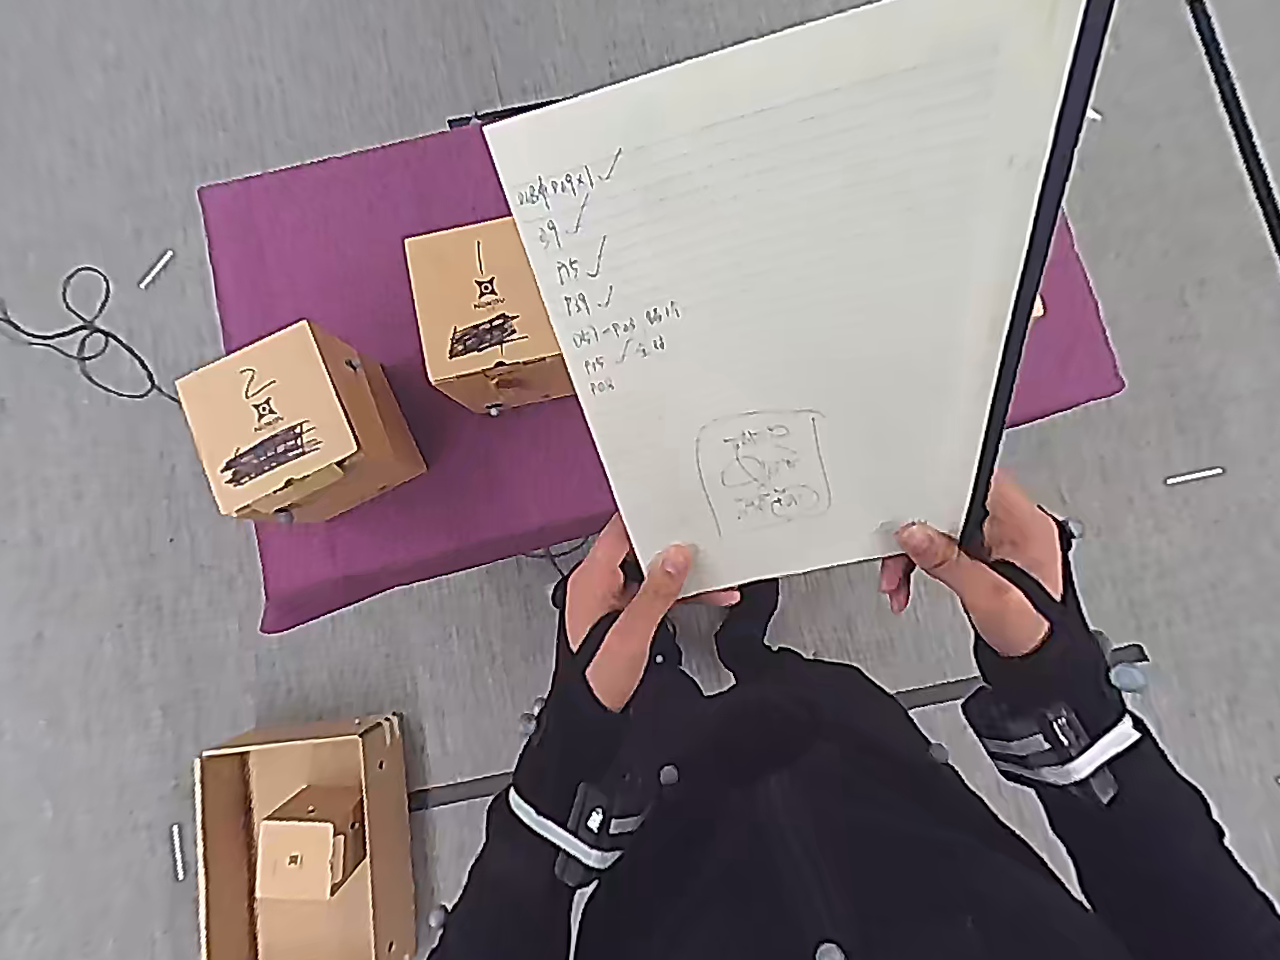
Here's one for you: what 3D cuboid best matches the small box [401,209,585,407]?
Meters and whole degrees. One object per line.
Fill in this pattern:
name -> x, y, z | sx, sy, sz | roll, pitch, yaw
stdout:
small box -> -0.172, -0.199, 0.683 | 0.168, 0.176, 0.179 | -12, 84, 0

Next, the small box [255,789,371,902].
small box -> -0.767, 0.859, 1.285 | 0.179, 0.176, 0.168 | 1, 85, 1
